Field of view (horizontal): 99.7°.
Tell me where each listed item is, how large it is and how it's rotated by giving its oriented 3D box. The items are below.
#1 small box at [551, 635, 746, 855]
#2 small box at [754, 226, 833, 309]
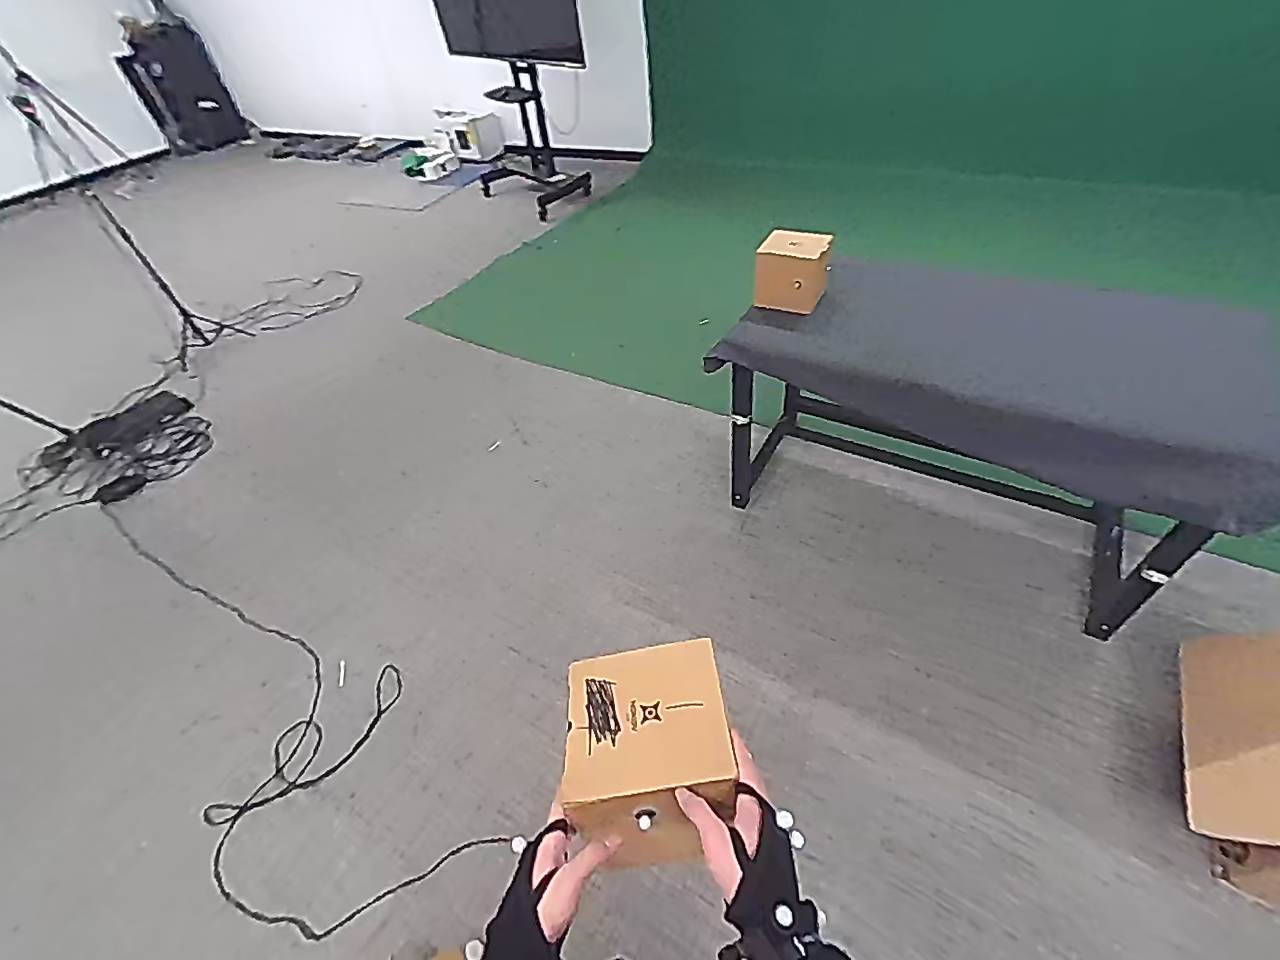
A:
[{"bbox_3d":[0.016,0.306,0.622,0.179,0.176,0.168,-10,37,8],"label":"small box"},{"bbox_3d":[0.447,-0.621,1.586,0.179,0.176,0.168,17,50,24],"label":"small box"}]
